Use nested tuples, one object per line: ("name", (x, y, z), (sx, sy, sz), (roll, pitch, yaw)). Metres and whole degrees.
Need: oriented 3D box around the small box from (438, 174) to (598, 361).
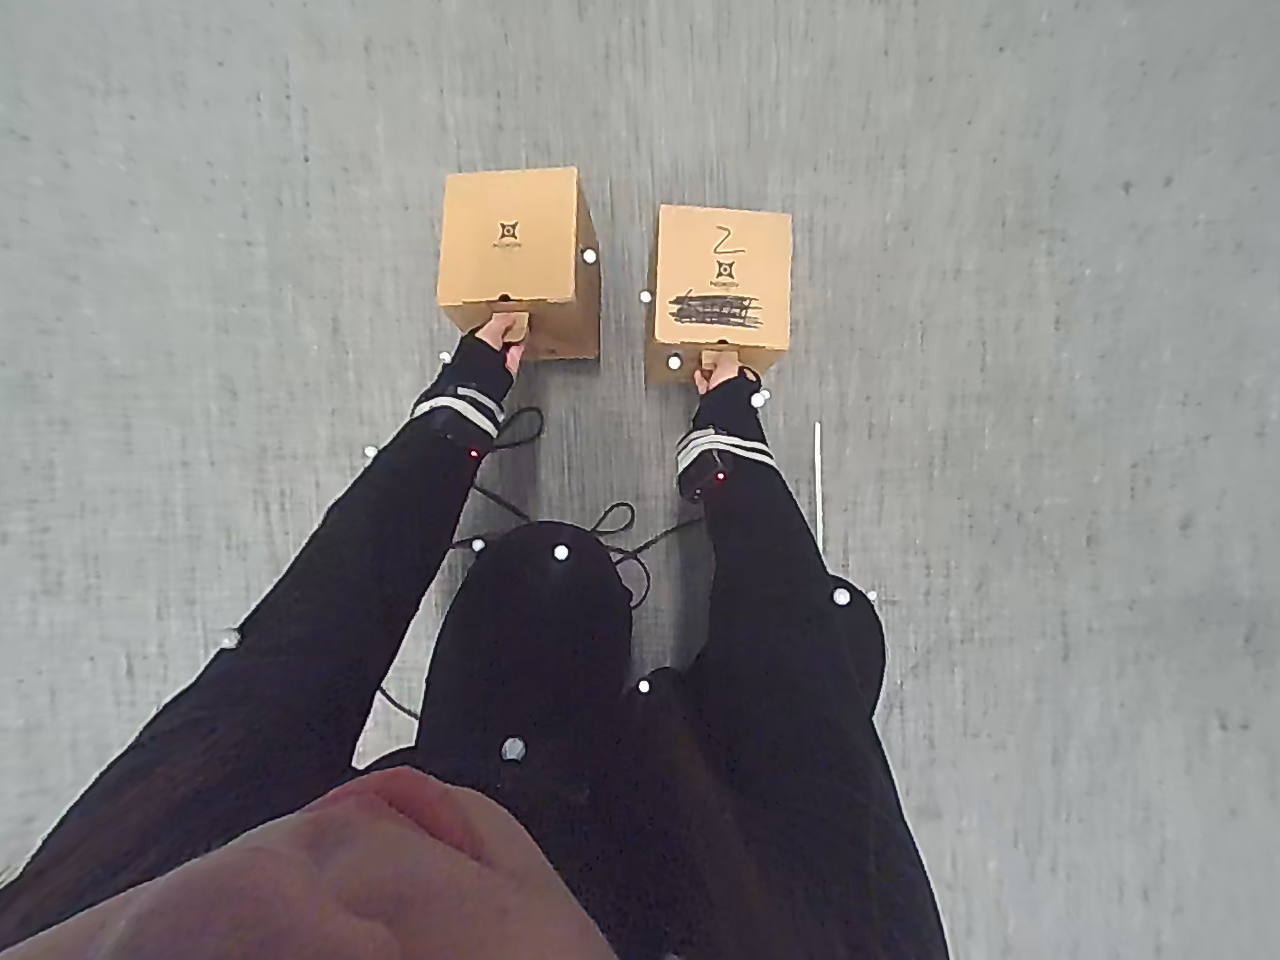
("small box", (-0.151, -0.276, 0.727), (0.168, 0.176, 0.179), (0, 81, 4))
